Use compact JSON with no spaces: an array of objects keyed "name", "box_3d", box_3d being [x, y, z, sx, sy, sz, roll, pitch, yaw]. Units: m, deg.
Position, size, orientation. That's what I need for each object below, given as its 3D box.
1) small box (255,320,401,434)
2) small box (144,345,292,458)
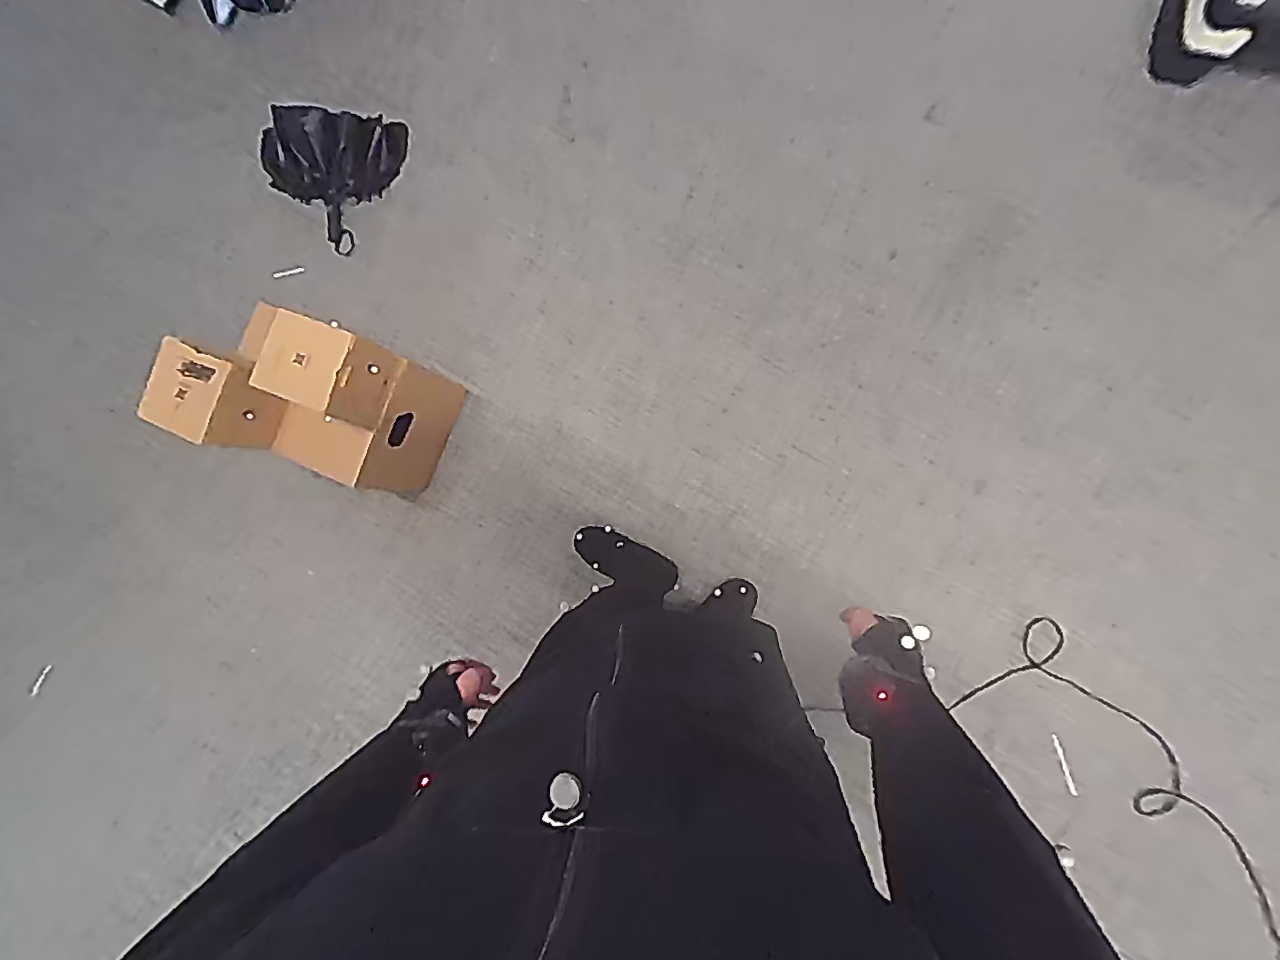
[{"name":"small box","box_3d":[-0.640,-0.206,1.131,0.179,0.176,0.168,19,86,9]},{"name":"small box","box_3d":[-0.885,-0.159,1.158,0.168,0.176,0.179,24,92,8]}]
